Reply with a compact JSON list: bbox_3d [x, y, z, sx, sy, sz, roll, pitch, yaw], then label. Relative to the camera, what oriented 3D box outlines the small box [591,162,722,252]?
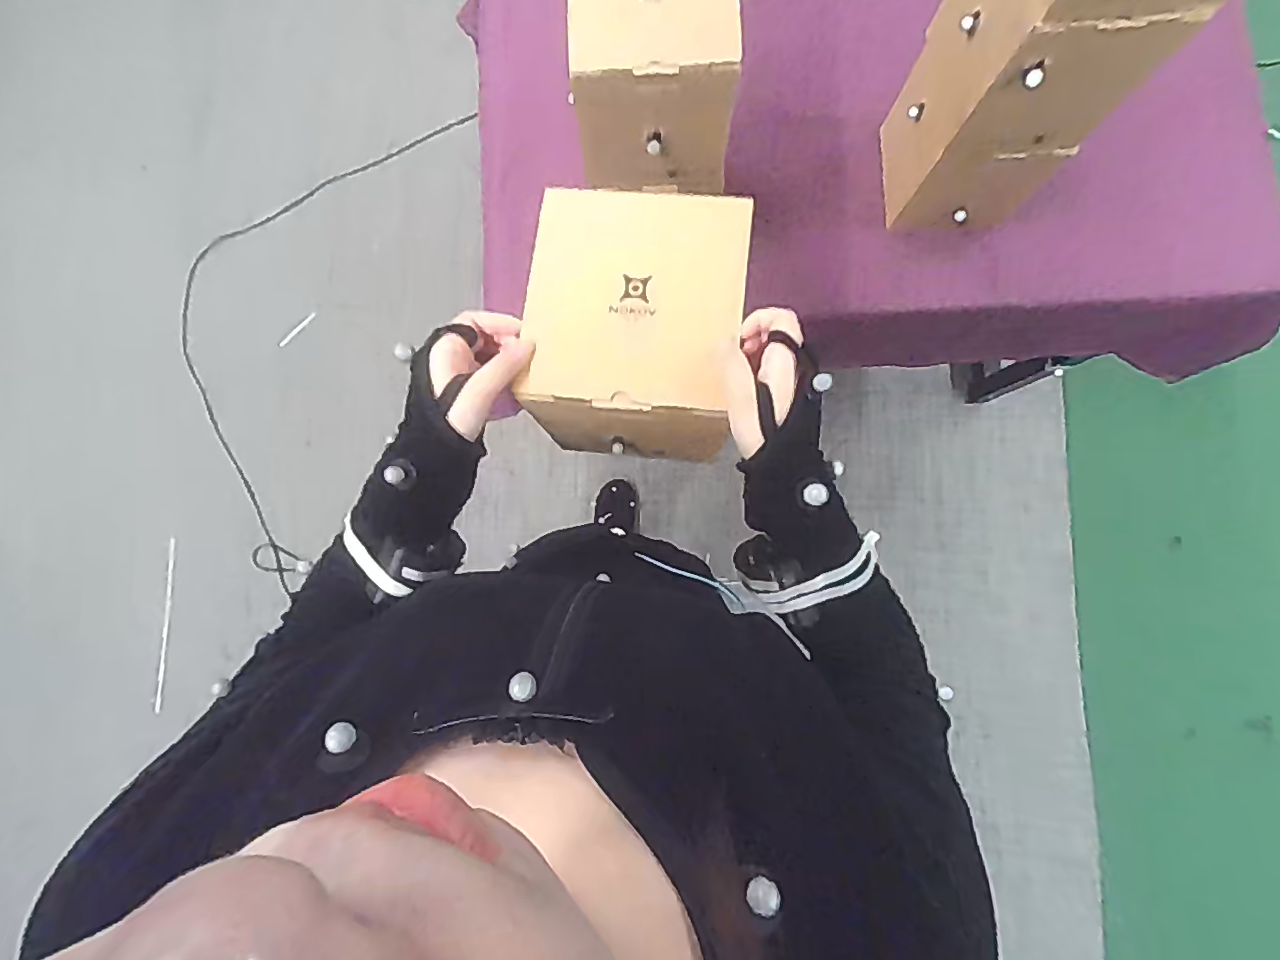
[{"bbox_3d":[0.021,-0.439,0.759,0.168,0.176,0.179,-3,83,1],"label":"small box"}]

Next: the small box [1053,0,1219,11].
[{"bbox_3d":[0.441,-0.516,0.425,0.168,0.176,0.179,-3,83,1],"label":"small box"}]

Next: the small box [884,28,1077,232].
[{"bbox_3d":[0.453,-0.472,0.749,0.168,0.176,0.179,0,84,2],"label":"small box"}]

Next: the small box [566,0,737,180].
[{"bbox_3d":[0.013,-0.458,0.596,0.168,0.176,0.179,-1,85,1],"label":"small box"}]
